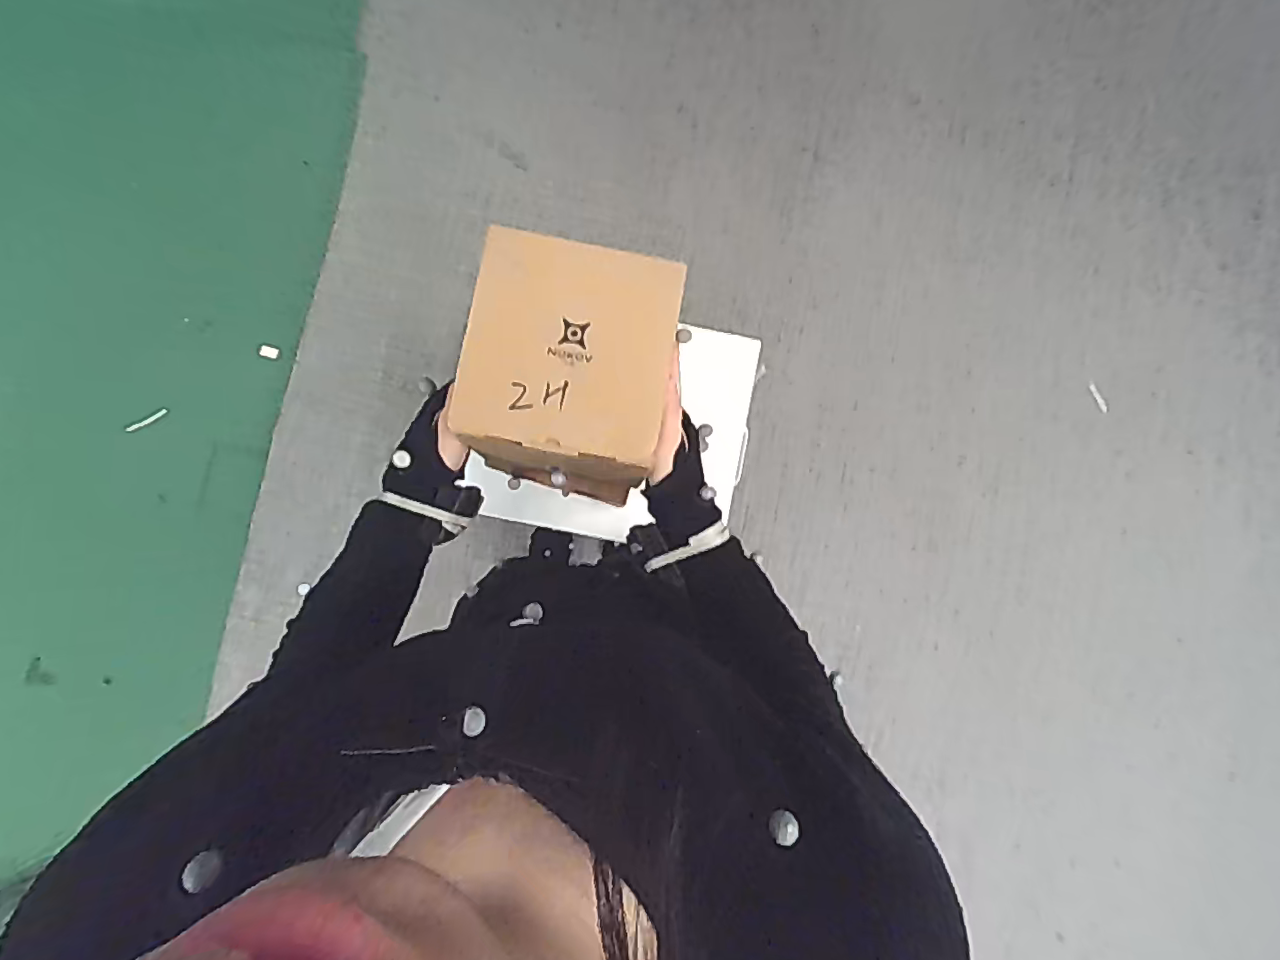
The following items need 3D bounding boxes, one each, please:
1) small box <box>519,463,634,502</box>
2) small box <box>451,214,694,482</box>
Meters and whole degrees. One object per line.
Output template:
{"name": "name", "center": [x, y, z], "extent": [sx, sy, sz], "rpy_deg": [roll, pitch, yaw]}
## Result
{"name": "small box", "center": [-0.074, -0.071, 0.844], "extent": [0.168, 0.176, 0.179], "rpy_deg": [18, 86, -2]}
{"name": "small box", "center": [-0.056, -0.104, 0.503], "extent": [0.168, 0.176, 0.179], "rpy_deg": [10, 82, -3]}
